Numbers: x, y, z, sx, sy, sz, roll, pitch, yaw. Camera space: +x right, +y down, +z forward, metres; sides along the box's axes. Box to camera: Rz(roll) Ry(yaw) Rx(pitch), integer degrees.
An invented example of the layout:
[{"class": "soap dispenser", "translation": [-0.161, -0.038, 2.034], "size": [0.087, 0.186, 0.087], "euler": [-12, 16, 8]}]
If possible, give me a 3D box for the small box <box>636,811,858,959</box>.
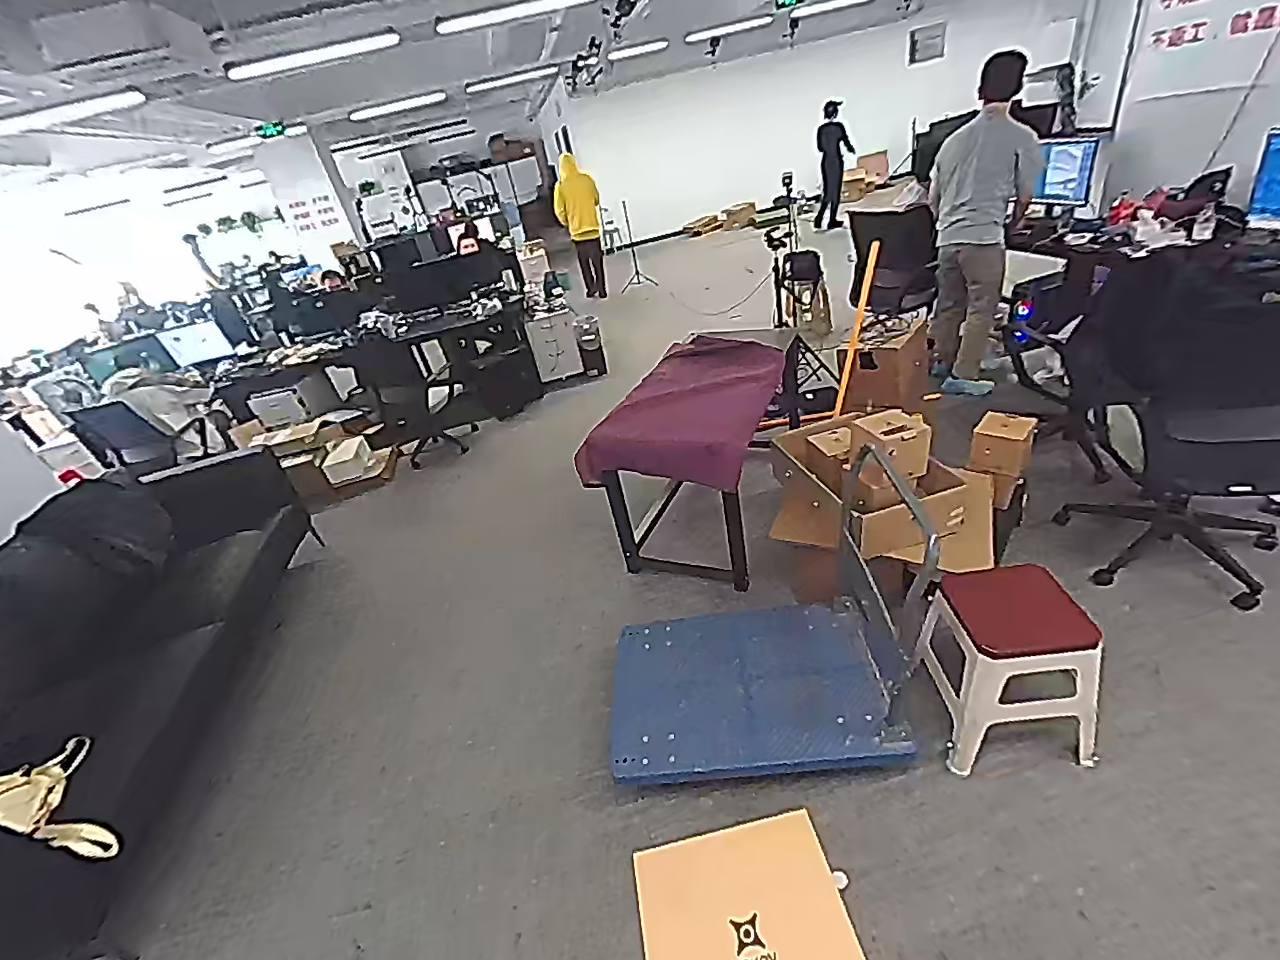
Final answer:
[{"class": "small box", "translation": [0.098, 0.436, 0.474], "size": [0.168, 0.176, 0.179], "euler": [-14, 33, 0]}]
